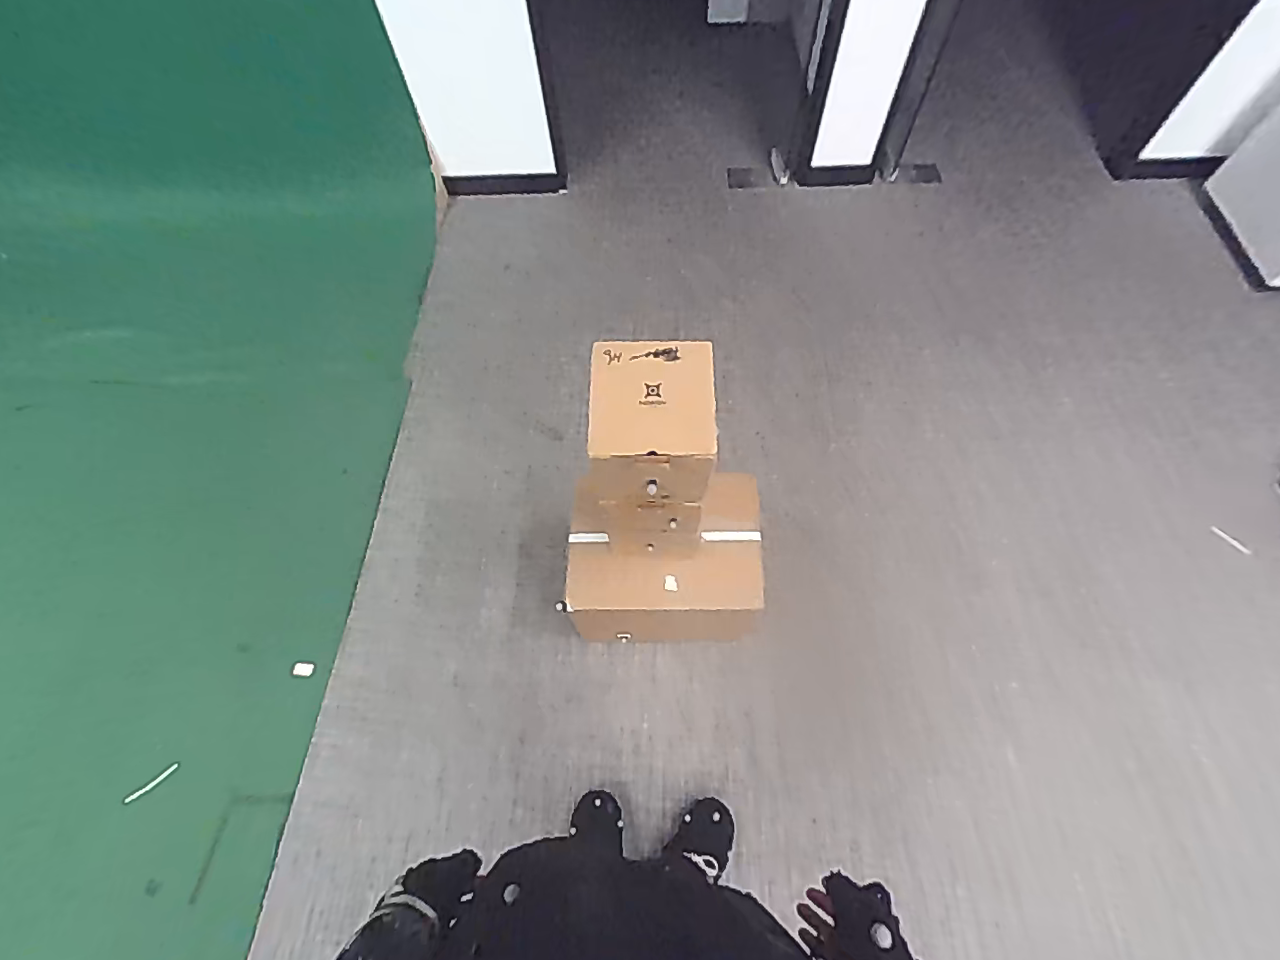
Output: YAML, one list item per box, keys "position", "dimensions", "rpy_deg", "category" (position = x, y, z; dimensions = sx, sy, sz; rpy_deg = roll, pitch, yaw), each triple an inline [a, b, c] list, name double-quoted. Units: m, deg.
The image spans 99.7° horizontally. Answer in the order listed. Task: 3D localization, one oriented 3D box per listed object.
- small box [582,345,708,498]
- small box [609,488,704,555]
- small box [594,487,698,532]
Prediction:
- position: [0.011, -0.077, 0.790]
  dimensions: [0.168, 0.176, 0.179]
  rpy_deg: [0, 69, 2]
  category: "small box"
- position: [0.032, 0.053, 1.088]
  dimensions: [0.179, 0.176, 0.168]
  rpy_deg: [0, 69, 2]
  category: "small box"
- position: [0.015, -0.012, 0.940]
  dimensions: [0.168, 0.176, 0.179]
  rpy_deg: [0, 67, 2]
  category: "small box"
